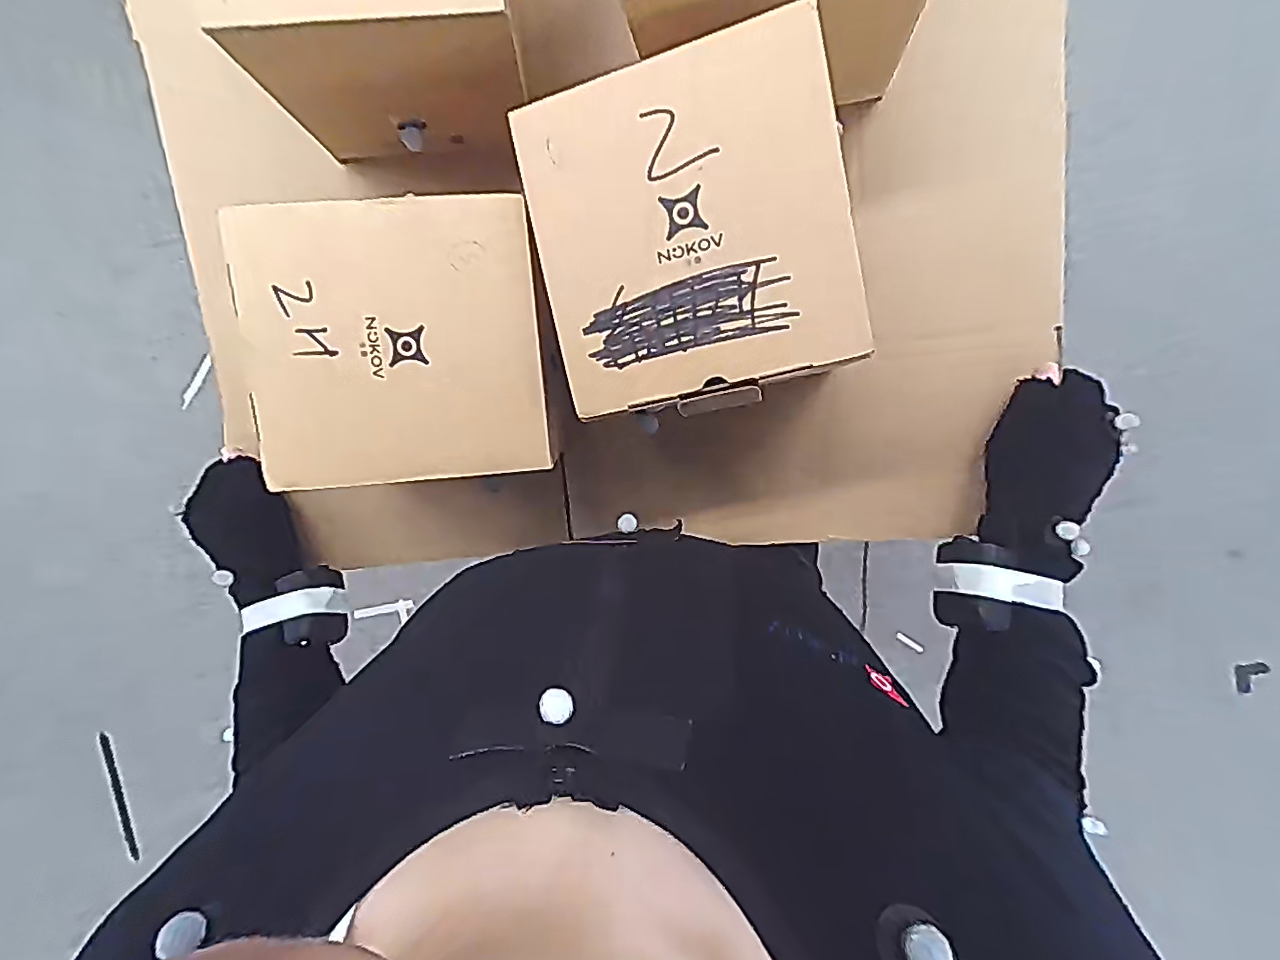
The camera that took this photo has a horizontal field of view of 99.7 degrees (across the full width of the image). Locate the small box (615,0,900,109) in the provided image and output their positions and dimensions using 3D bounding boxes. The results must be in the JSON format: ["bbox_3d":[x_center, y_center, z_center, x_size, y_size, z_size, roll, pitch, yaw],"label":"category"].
[{"bbox_3d":[0.074,-0.360,0.328,0.168,0.176,0.179,-3,98,12],"label":"small box"}]
